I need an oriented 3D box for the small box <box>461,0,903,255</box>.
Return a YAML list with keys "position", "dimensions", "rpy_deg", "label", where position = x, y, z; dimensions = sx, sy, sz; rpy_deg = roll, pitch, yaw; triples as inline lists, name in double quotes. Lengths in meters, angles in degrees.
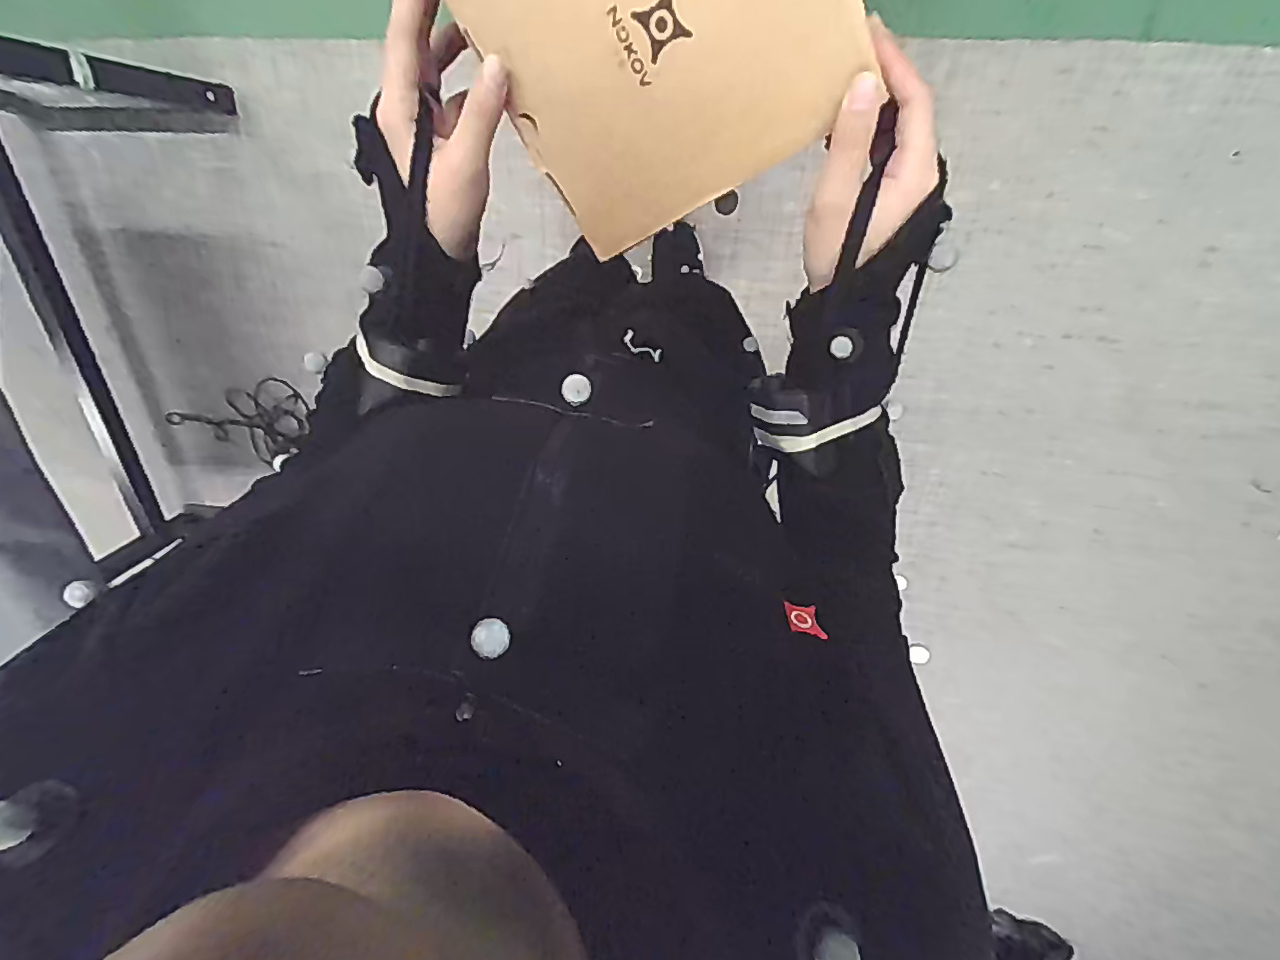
- position: [0.030, -0.271, 0.315]
  dimensions: [0.179, 0.176, 0.168]
  rpy_deg: [-17, 124, 29]
  label: "small box"
